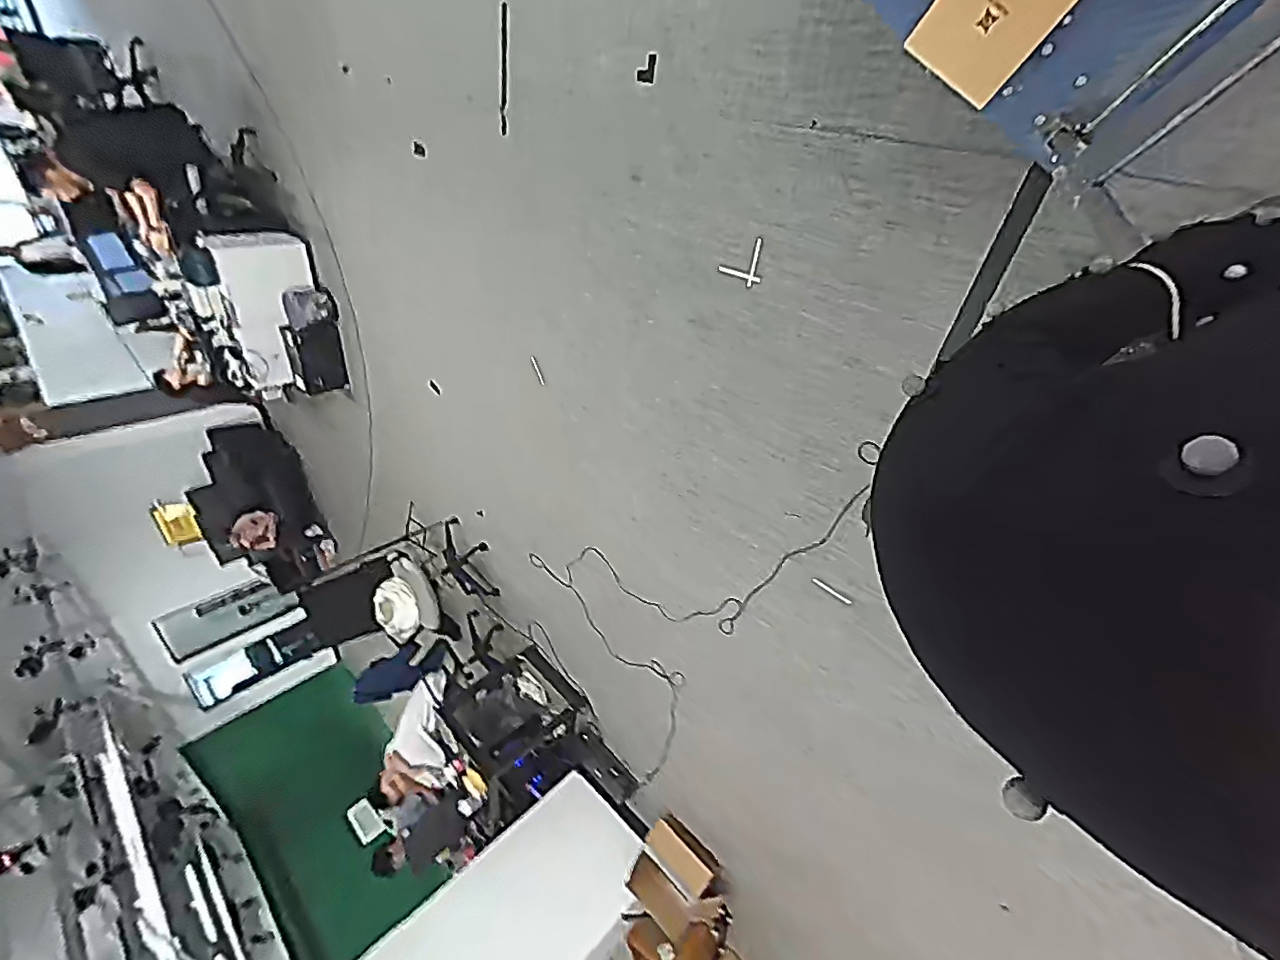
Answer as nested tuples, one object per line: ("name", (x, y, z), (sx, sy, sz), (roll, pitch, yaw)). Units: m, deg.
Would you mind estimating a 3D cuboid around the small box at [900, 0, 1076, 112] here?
("small box", (0.551, -0.734, 0.859), (0.168, 0.176, 0.179), (37, 137, -2))
